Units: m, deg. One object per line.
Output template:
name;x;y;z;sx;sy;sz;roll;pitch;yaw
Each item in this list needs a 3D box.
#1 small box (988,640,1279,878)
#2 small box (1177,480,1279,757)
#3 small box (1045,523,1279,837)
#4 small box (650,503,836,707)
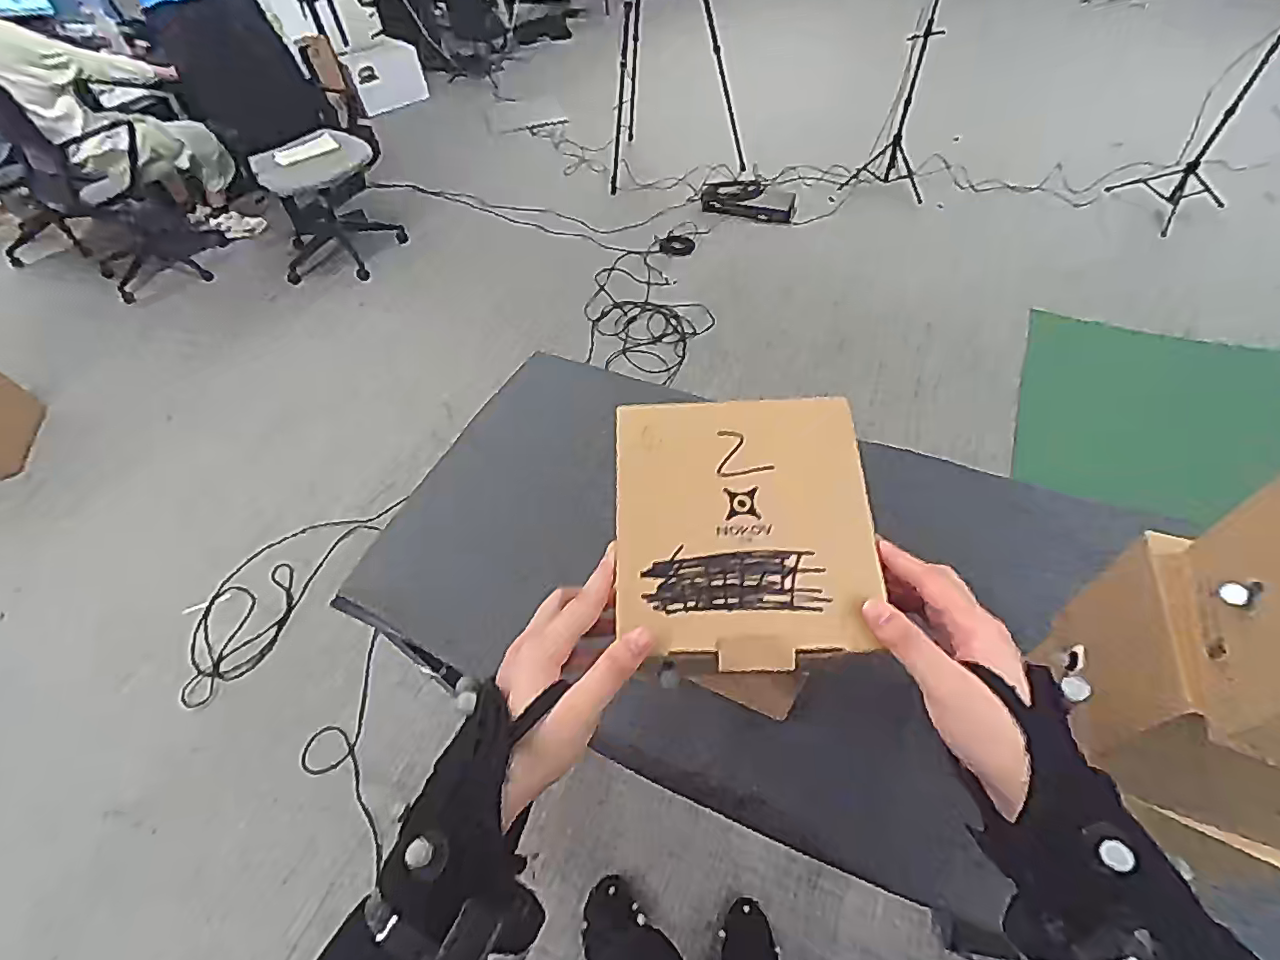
small box;0.496;0.276;0.567;0.168;0.176;0.179;21;55;21
small box;0.472;0.081;0.305;0.179;0.176;0.168;19;52;19
small box;0.478;0.168;0.447;0.179;0.176;0.168;15;51;17
small box;0.128;0.163;0.690;0.179;0.176;0.168;18;54;19
